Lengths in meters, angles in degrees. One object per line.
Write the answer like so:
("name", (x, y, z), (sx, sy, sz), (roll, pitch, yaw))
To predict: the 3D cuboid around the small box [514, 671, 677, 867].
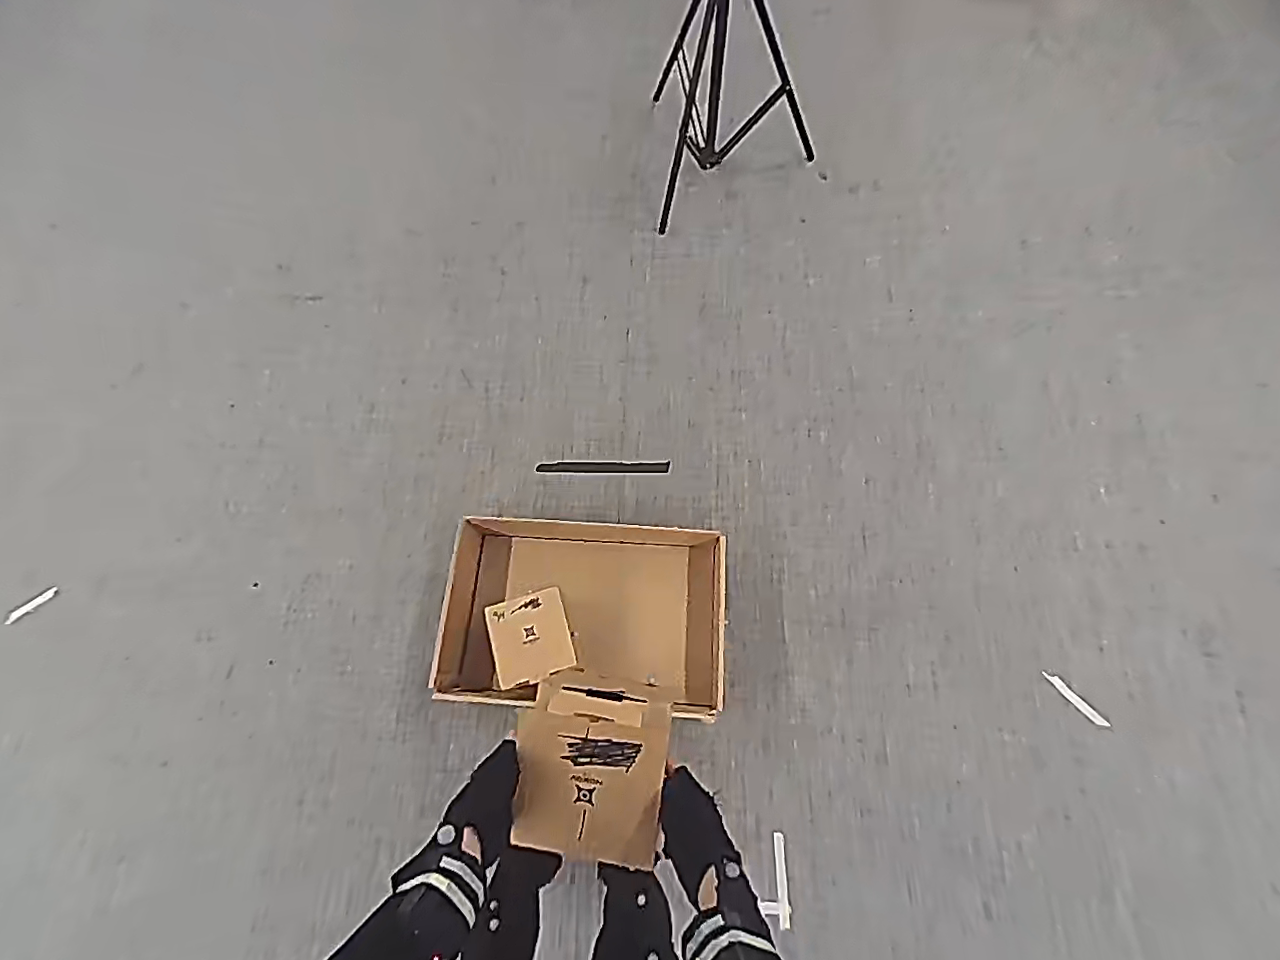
("small box", (-0.046, 0.350, 0.694), (0.168, 0.176, 0.179), (6, 76, 6))
